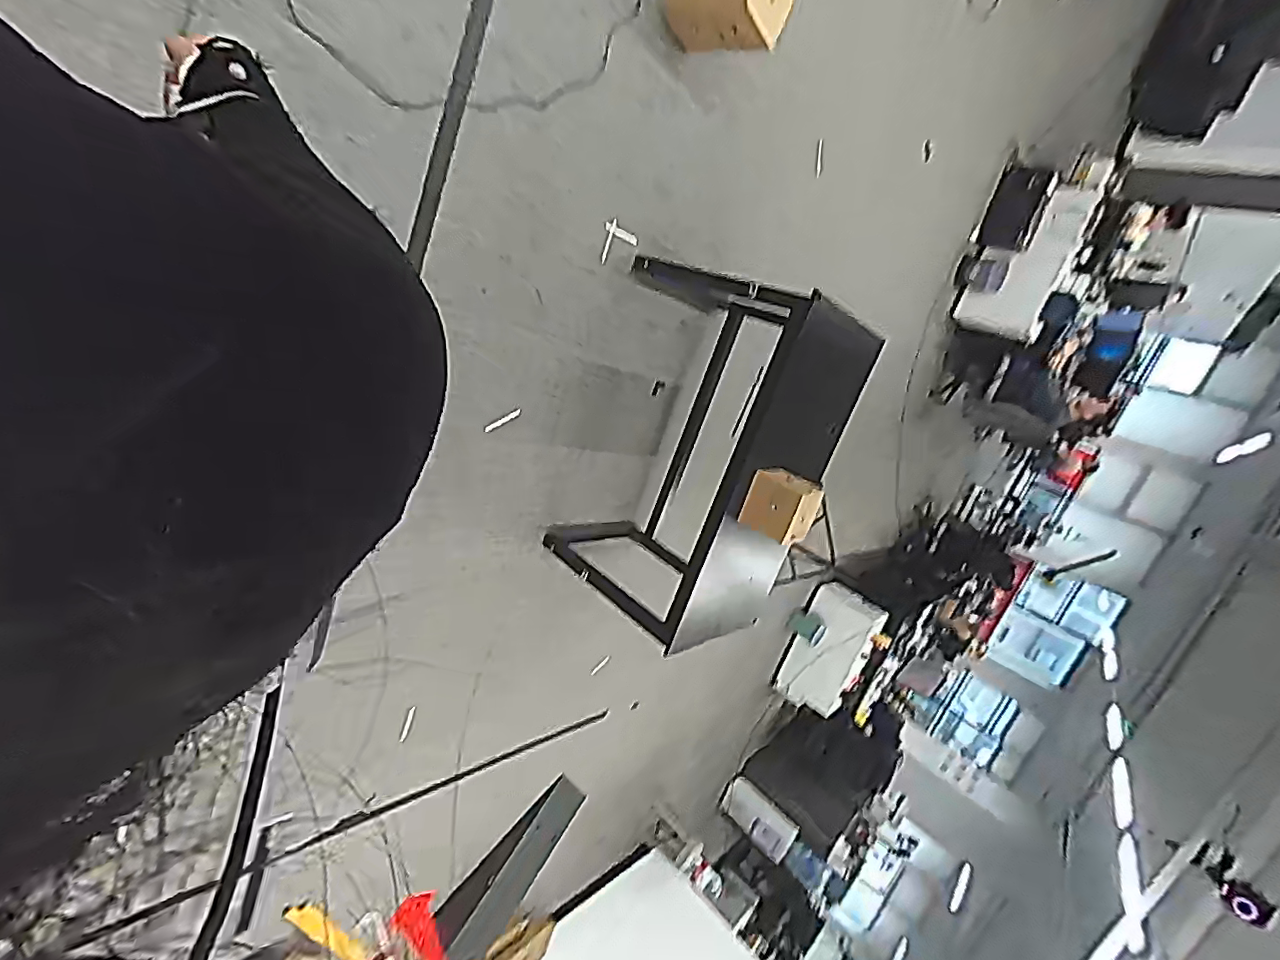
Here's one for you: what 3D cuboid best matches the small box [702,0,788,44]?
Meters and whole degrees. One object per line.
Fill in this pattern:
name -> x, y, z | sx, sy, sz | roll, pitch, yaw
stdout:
small box -> 0.289, -1.344, 1.486 | 0.168, 0.176, 0.179 | 11, 106, -53

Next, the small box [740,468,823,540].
small box -> 0.440, 0.066, 1.695 | 0.168, 0.176, 0.179 | -4, 117, -48

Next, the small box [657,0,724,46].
small box -> 0.183, -1.421, 1.586 | 0.179, 0.176, 0.168 | 16, 102, -52
